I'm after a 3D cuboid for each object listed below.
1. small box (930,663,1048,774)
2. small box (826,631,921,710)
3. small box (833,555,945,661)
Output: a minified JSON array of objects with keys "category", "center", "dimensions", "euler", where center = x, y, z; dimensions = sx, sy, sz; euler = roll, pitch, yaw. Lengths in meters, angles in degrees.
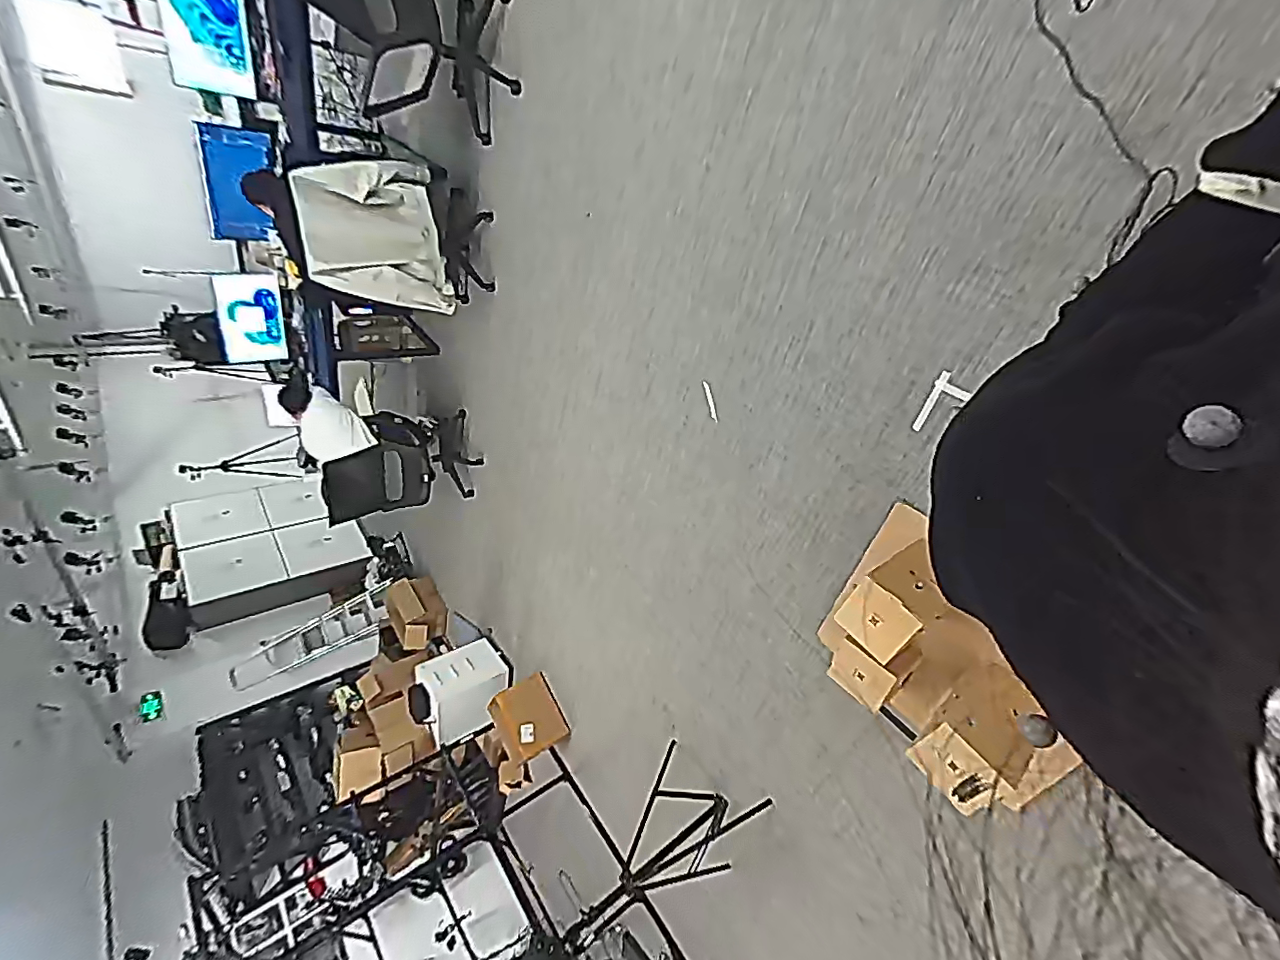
[{"category":"small box","center":[0.913,0.616,1.411],"dimensions":[0.179,0.176,0.168],"euler":[49,135,26]},{"category":"small box","center":[0.708,0.551,1.643],"dimensions":[0.179,0.176,0.168],"euler":[39,130,37]},{"category":"small box","center":[0.640,0.322,1.384],"dimensions":[0.168,0.176,0.179],"euler":[45,132,31]}]
